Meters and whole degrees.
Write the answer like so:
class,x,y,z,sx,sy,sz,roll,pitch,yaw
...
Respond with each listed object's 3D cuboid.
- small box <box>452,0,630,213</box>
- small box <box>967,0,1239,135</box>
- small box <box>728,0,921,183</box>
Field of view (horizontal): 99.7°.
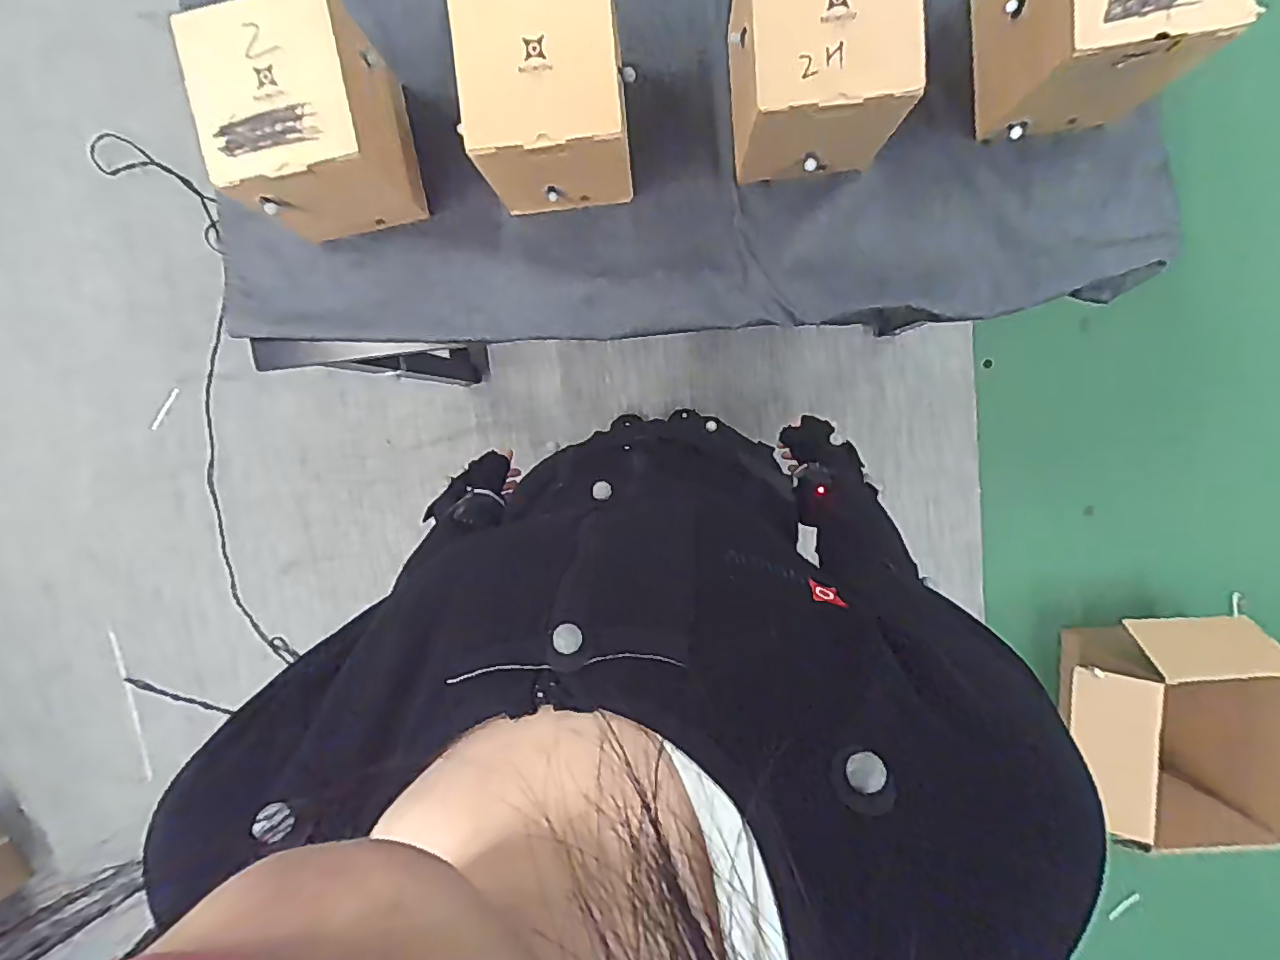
class,x,y,z,sx,sy,sz,roll,pitch,yaw
small box,-0.102,-0.436,0.625,0.168,0.176,0.179,-5,97,2
small box,0.490,-0.511,0.597,0.168,0.176,0.179,-6,96,2
small box,0.194,-0.468,0.611,0.168,0.176,0.179,-4,97,2
